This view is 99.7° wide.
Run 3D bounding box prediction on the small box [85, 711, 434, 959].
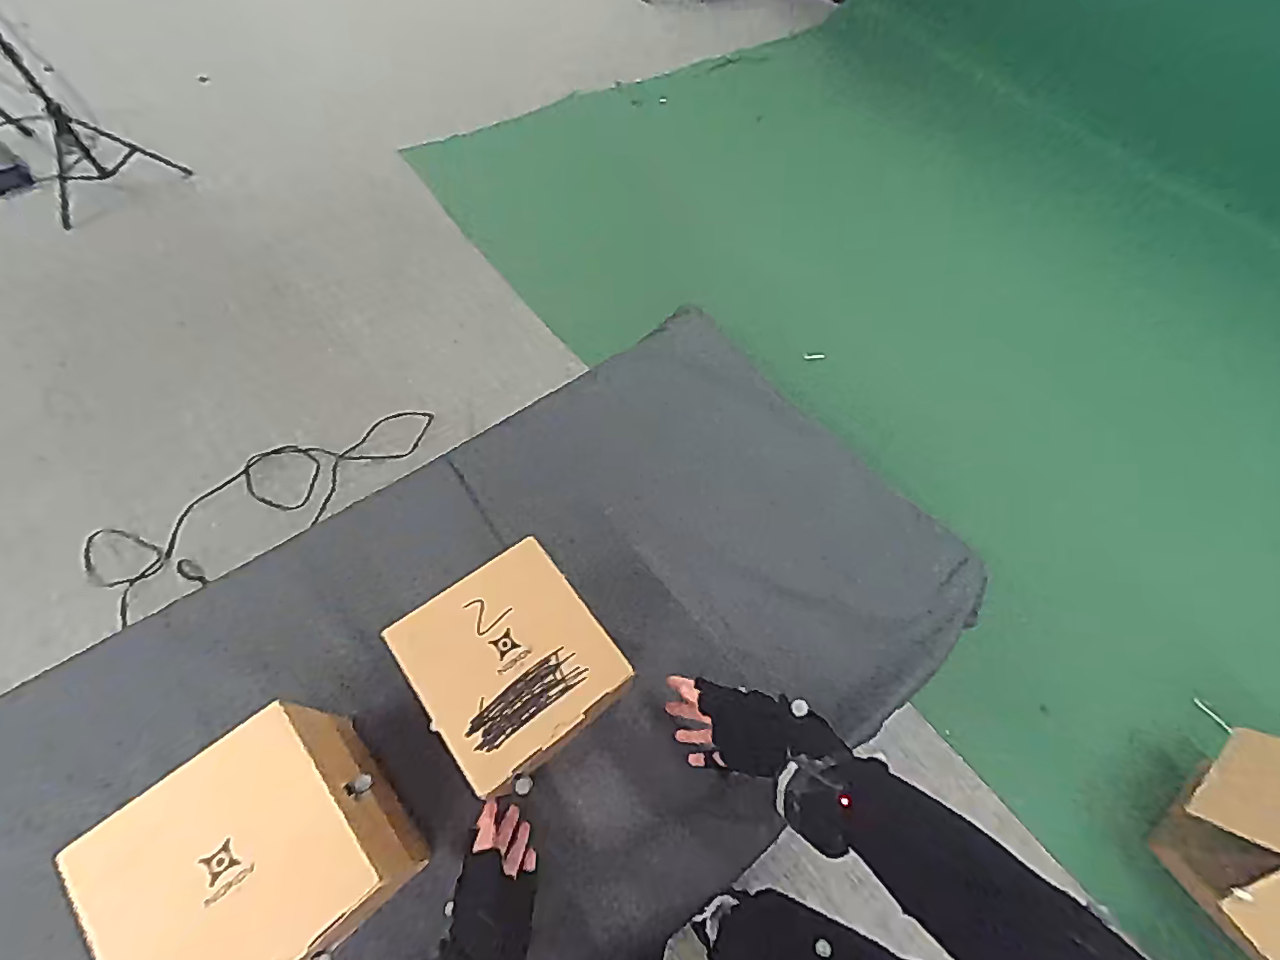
[{"bbox_3d":[-0.316,0.343,0.486,0.168,0.176,0.179,-36,71,-23],"label":"small box"}]
